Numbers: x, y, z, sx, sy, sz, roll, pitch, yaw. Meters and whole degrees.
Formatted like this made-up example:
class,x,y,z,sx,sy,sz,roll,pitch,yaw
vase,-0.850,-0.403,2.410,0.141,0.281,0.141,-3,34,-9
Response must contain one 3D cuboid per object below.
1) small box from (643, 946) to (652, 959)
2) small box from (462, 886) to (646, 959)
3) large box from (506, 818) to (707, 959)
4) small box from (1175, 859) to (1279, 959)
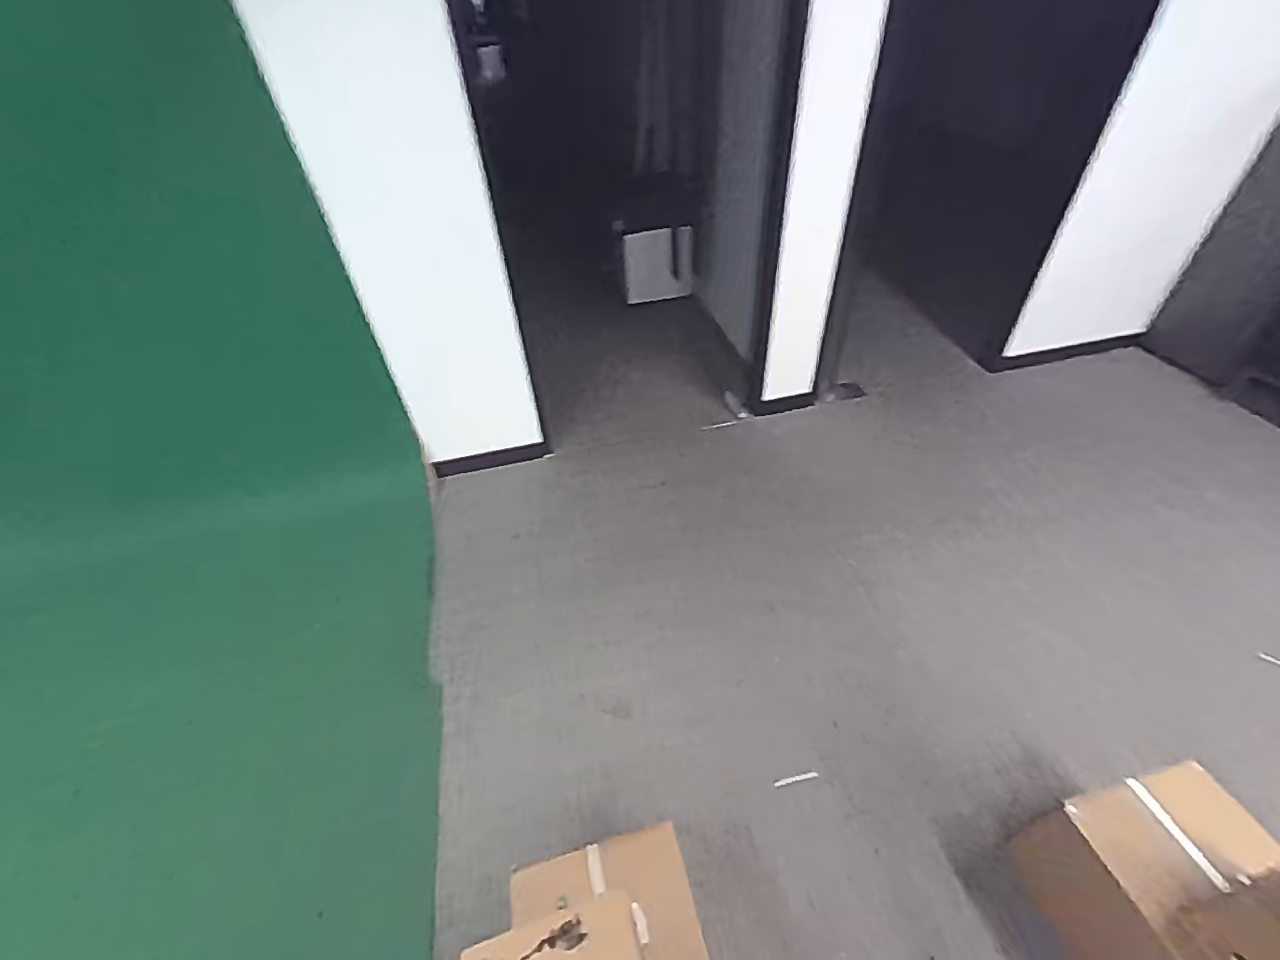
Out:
class,x,y,z,sx,sy,sz,roll,pitch,yaw
small box,-0.047,0.787,0.750,0.179,0.176,0.168,-14,43,-9
small box,-0.065,0.543,0.530,0.168,0.176,0.179,-14,44,-11
large box,-0.035,0.914,0.969,0.320,0.320,0.408,-12,43,-9
small box,0.971,0.677,0.796,0.179,0.176,0.168,-14,45,-9
